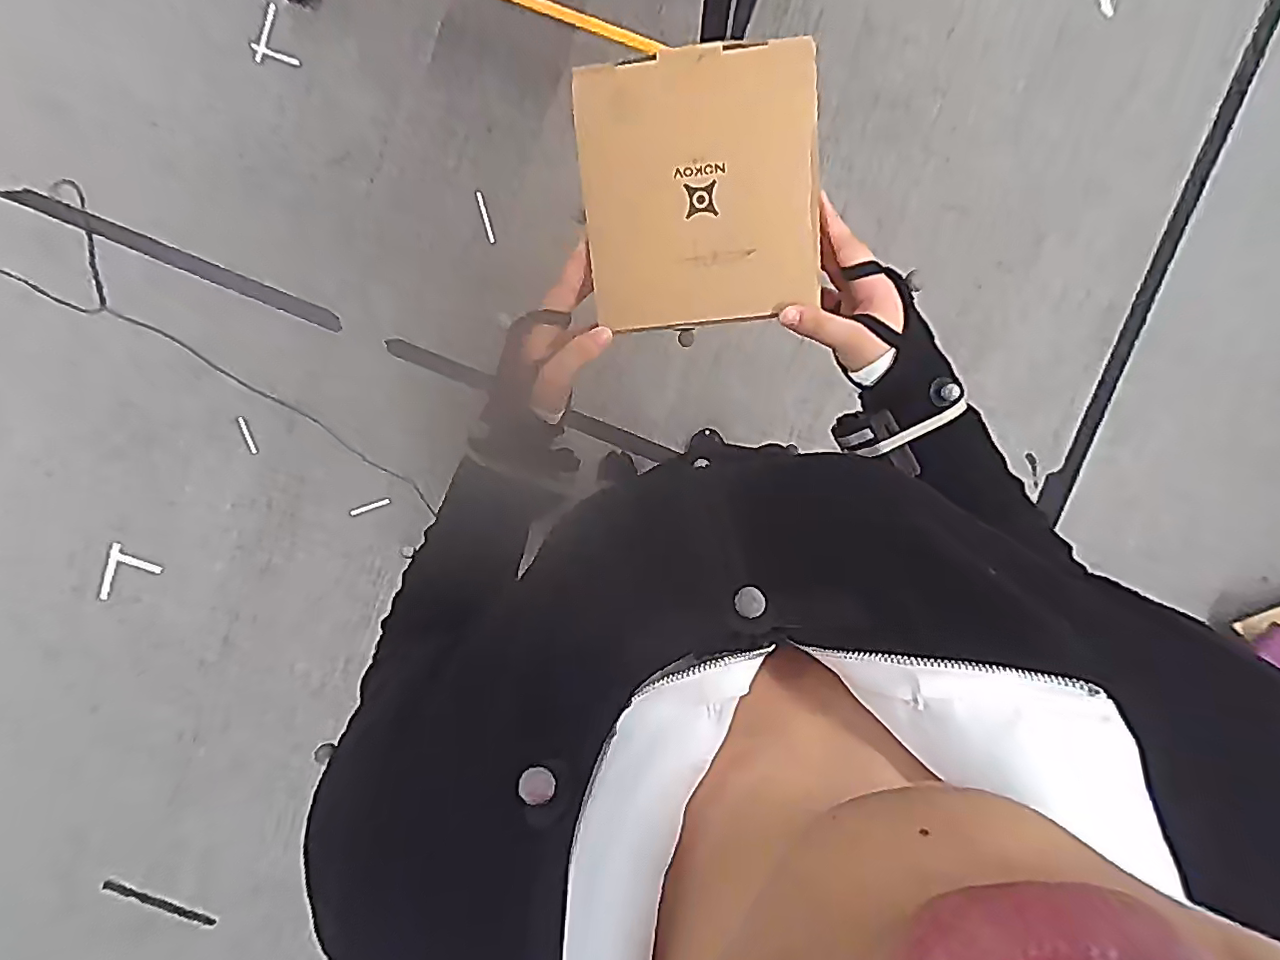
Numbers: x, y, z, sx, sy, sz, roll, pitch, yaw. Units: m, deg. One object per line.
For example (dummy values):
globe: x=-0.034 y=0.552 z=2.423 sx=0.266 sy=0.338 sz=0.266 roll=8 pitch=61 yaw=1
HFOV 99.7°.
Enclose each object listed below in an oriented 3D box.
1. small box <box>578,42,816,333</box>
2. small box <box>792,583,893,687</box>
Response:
small box: x=0.046 y=-0.225 z=0.465 sx=0.168 sy=0.176 sz=0.179 roll=-5 pitch=104 yaw=4
small box: x=0.526 y=0.404 z=1.437 sx=0.168 sy=0.176 sz=0.179 roll=34 pitch=95 yaw=-1
